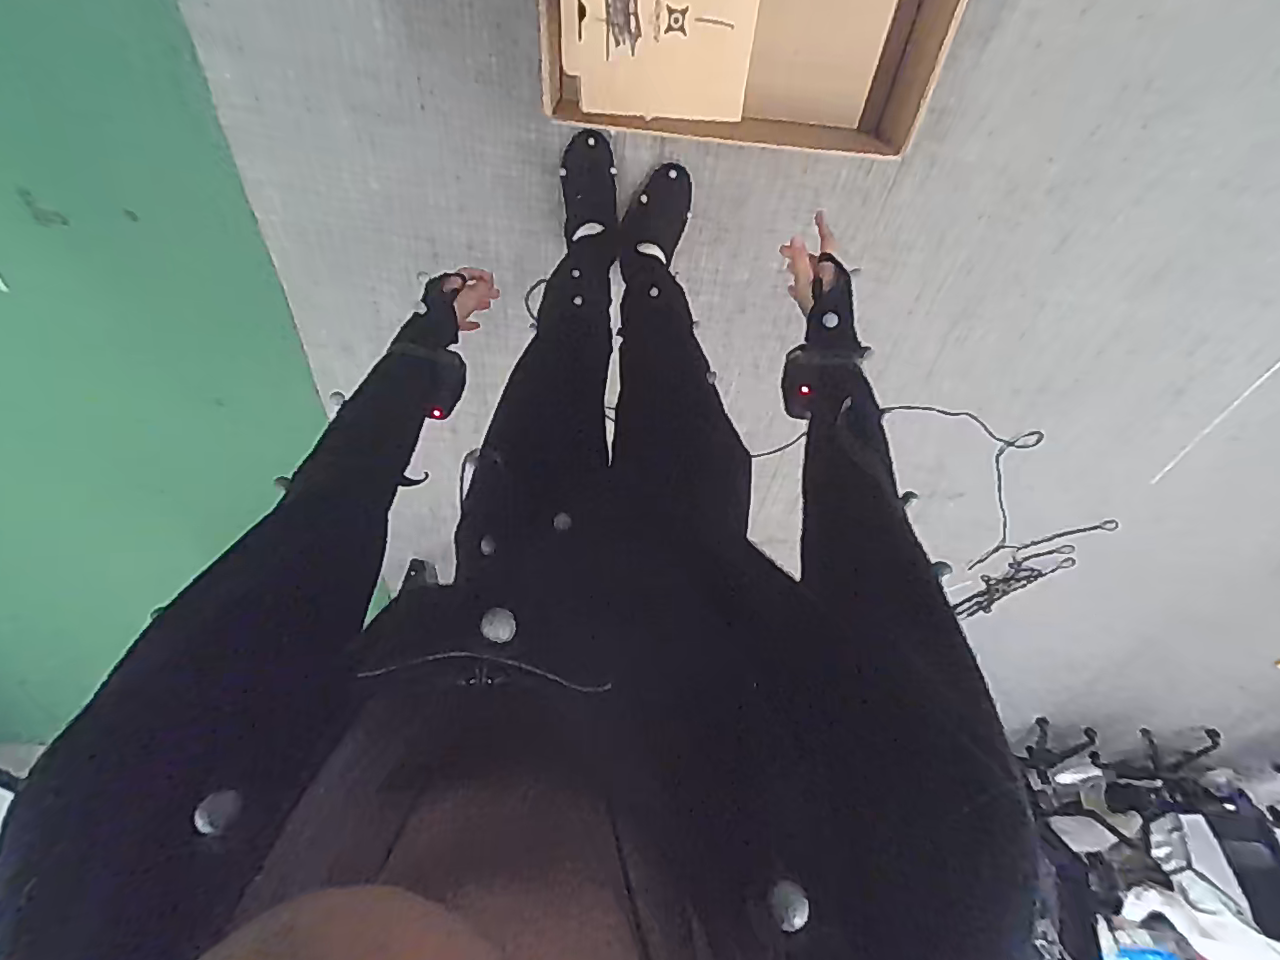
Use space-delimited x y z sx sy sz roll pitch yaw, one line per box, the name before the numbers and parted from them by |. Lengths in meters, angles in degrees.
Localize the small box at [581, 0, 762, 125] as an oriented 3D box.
small box | 0.030 -0.506 0.585 0.179 0.176 0.168 2 137 -2
